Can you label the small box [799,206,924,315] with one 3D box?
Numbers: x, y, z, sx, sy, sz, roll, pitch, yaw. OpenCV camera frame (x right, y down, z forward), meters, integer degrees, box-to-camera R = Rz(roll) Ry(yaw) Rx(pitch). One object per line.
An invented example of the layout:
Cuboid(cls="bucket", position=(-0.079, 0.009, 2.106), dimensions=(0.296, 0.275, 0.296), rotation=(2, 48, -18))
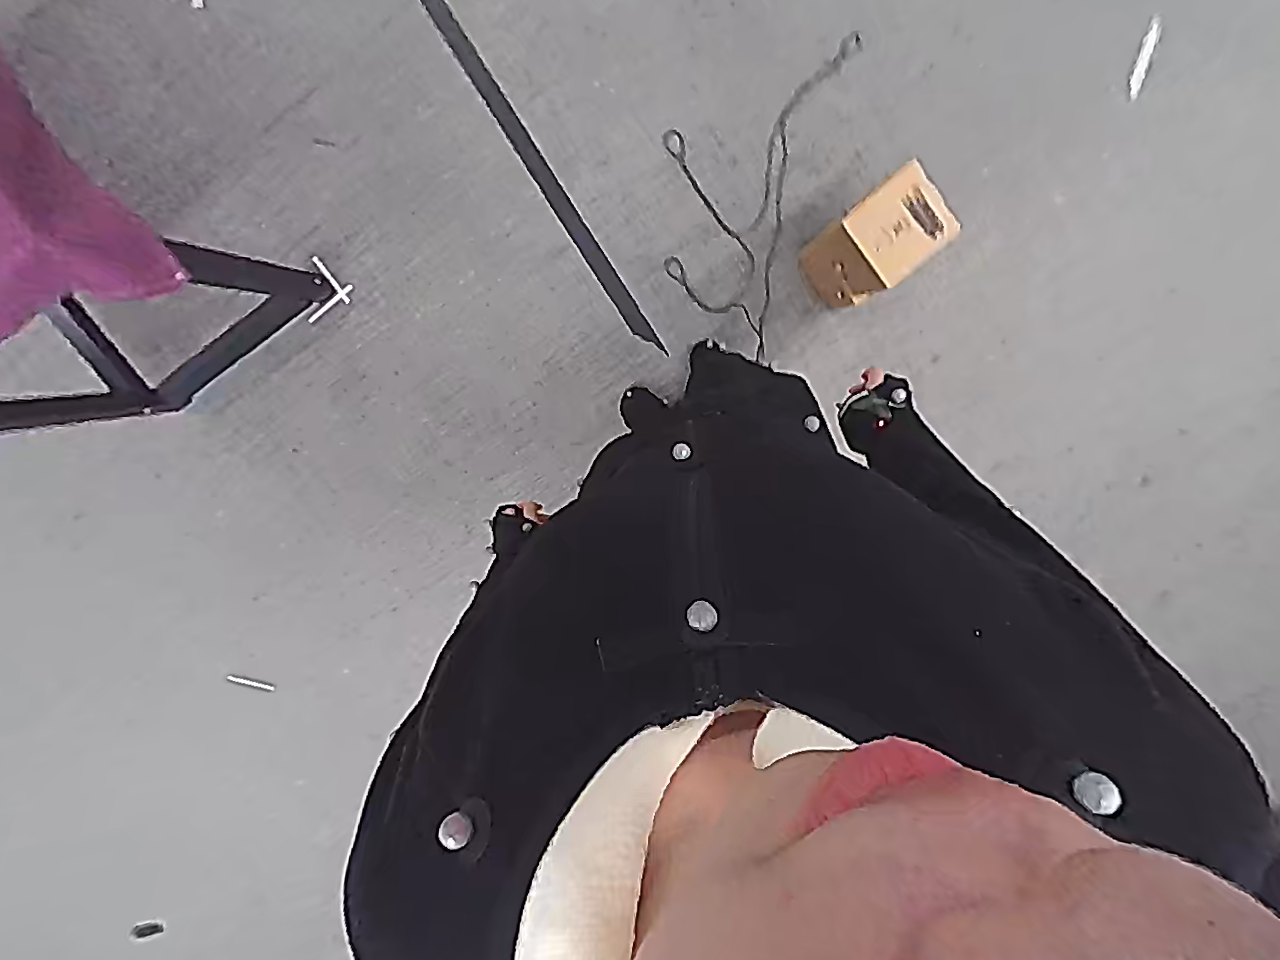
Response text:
Cuboid(cls="small box", position=(0.514, -0.506, 1.254), dimensions=(0.179, 0.176, 0.168), rotation=(-44, 119, -8))
